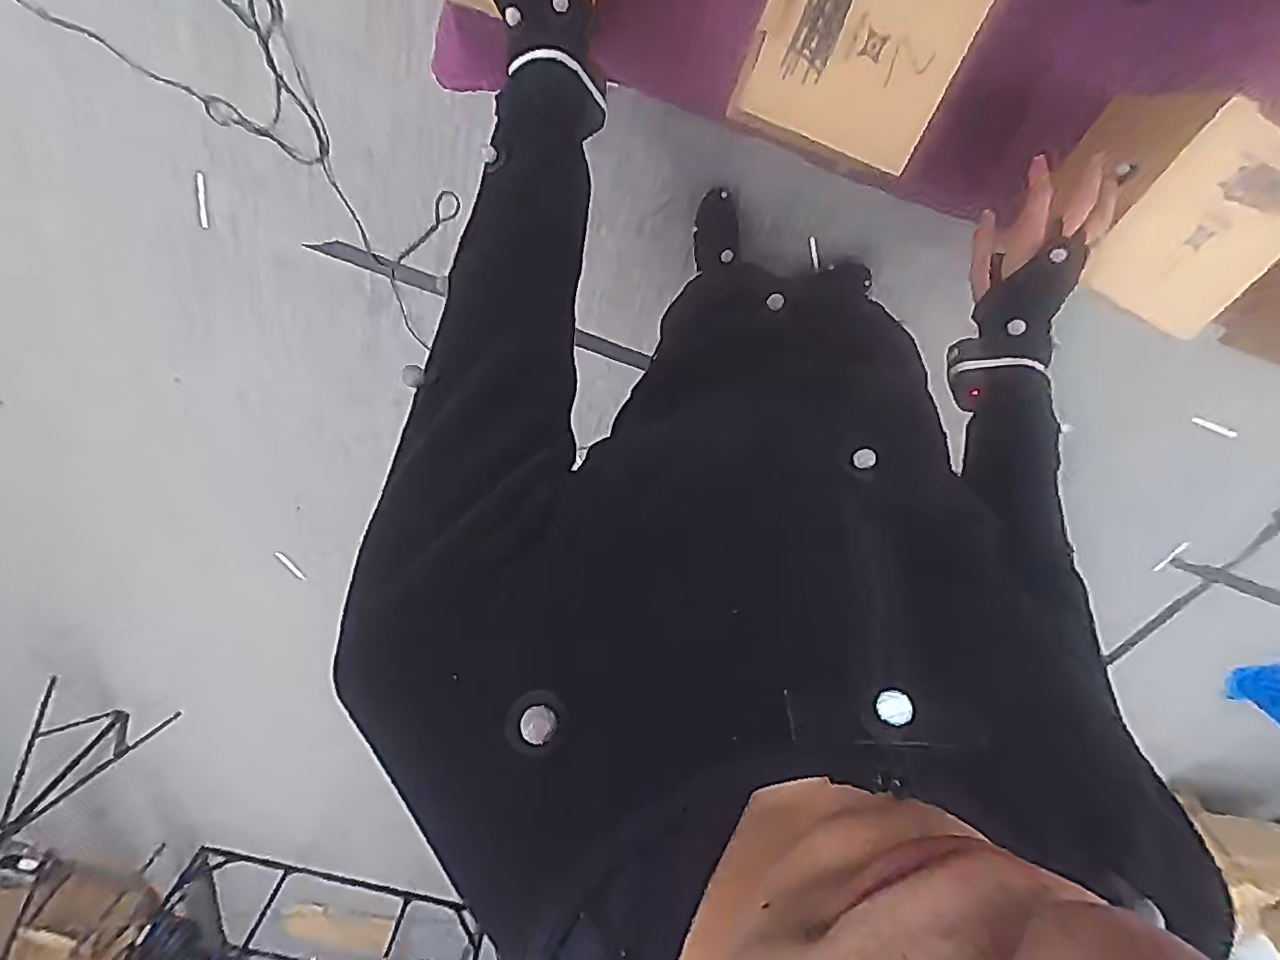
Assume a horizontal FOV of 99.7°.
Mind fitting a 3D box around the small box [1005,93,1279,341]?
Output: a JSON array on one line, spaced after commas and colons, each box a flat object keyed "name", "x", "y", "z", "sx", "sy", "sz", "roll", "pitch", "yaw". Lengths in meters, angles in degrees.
[{"name": "small box", "x": 0.562, "y": -0.291, "z": 0.601, "sx": 0.168, "sy": 0.176, "sz": 0.179, "roll": 24, "pitch": 123, "yaw": -10}]

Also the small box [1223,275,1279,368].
[{"name": "small box", "x": 0.878, "y": -0.193, "z": 0.632, "sx": 0.168, "sy": 0.176, "sz": 0.179, "roll": 18, "pitch": 122, "yaw": -5}]

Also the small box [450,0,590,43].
[{"name": "small box", "x": -0.132, "y": -0.542, "z": 0.504, "sx": 0.179, "sy": 0.176, "sz": 0.168, "roll": 16, "pitch": 122, "yaw": -7}]
